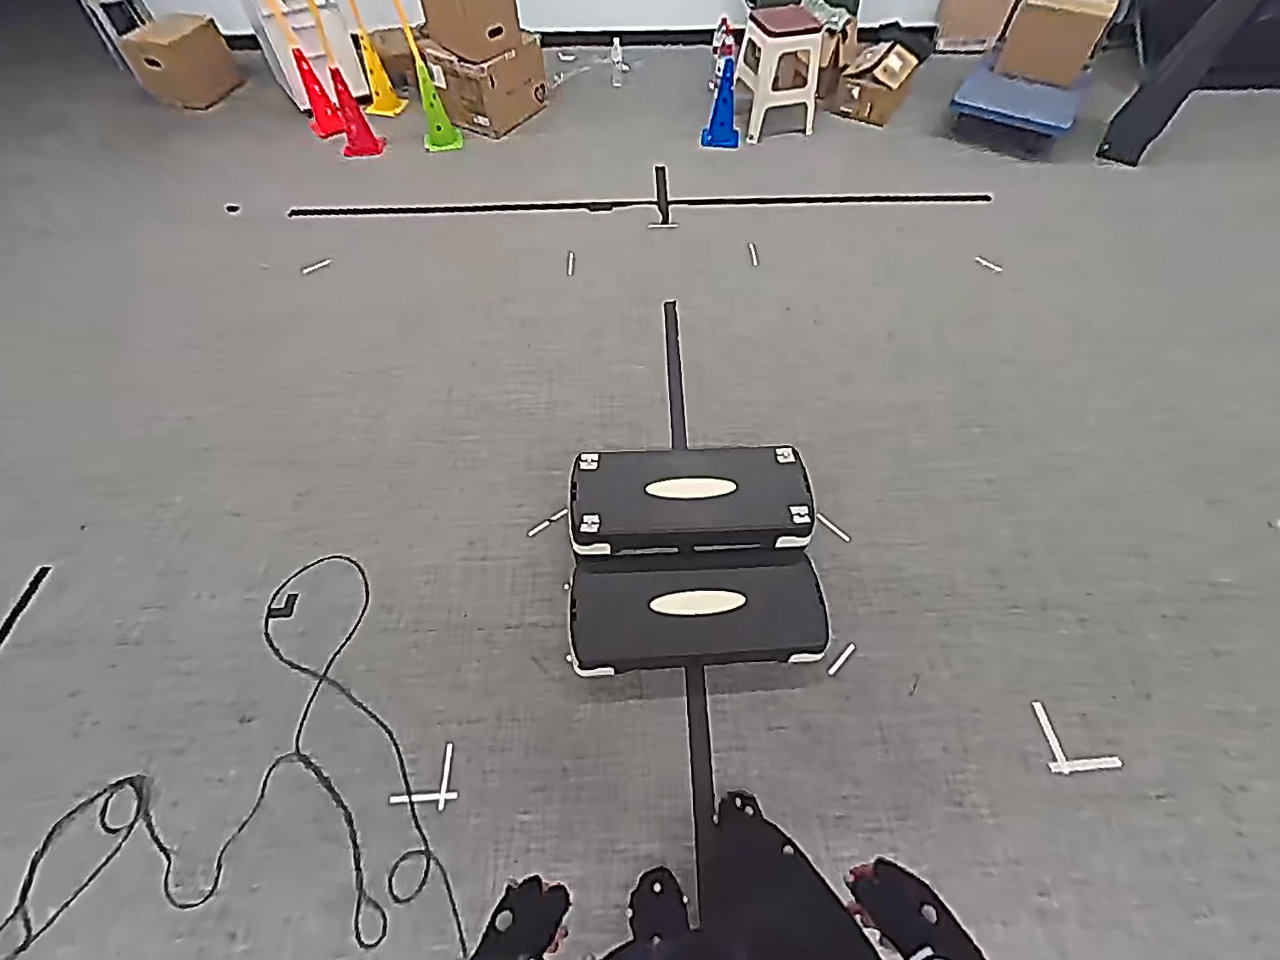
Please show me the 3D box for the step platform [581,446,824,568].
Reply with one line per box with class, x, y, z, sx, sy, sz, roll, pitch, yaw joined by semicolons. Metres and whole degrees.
step platform;0.170;0.071;1.569;0.684;0.204;0.286;-2;57;-3
